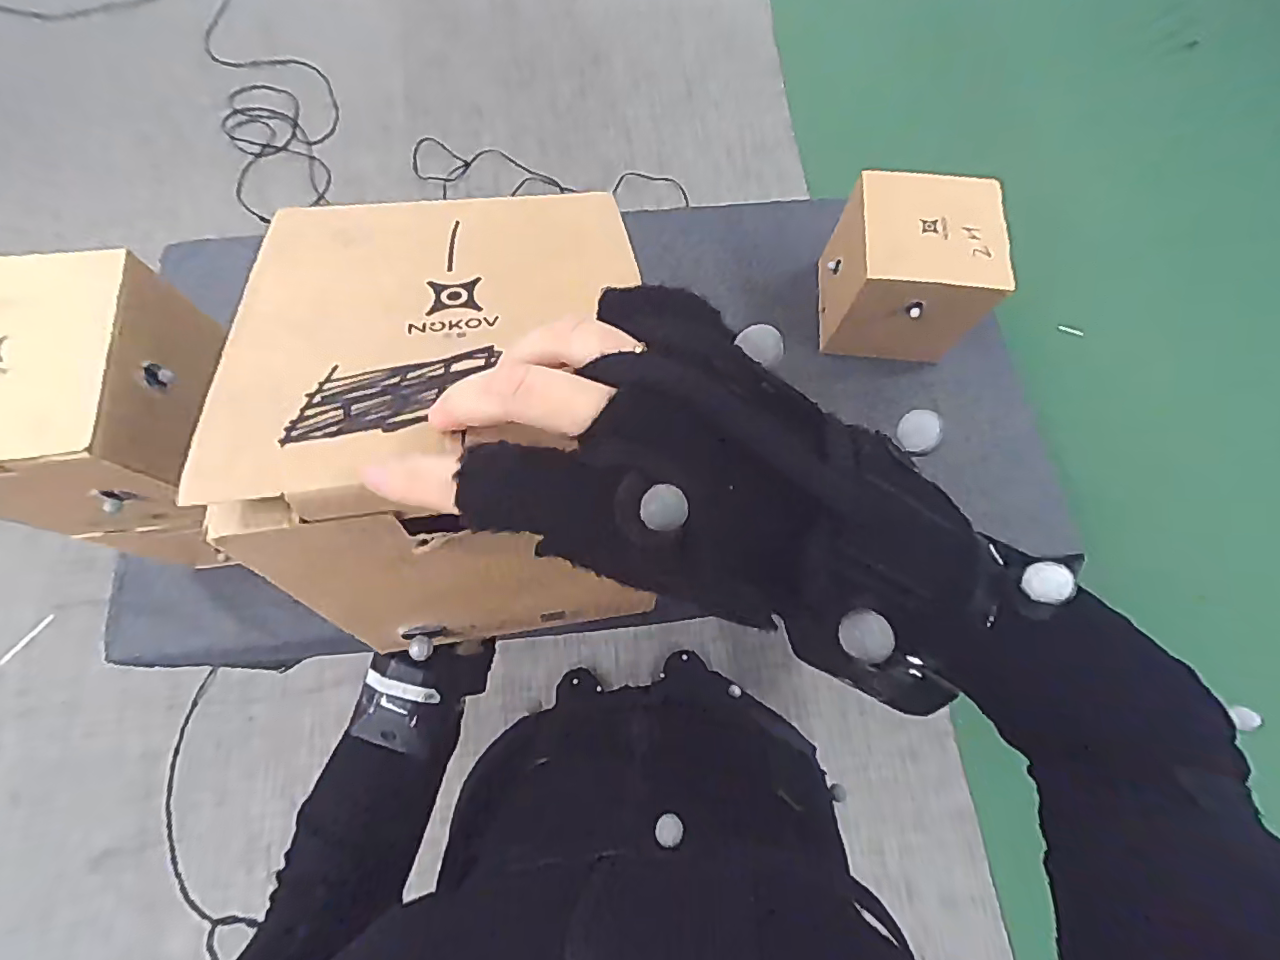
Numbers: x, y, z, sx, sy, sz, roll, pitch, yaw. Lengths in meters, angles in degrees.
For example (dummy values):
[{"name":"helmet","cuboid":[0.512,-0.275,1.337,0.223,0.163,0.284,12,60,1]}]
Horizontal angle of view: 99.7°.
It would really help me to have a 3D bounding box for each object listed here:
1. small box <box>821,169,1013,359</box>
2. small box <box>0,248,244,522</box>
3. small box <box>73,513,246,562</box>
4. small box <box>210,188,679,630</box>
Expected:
[{"name":"small box","cuboid":[0.353,-0.279,0.726,0.179,0.176,0.168,6,72,0]},{"name":"small box","cuboid":[-0.466,-0.066,0.465,0.168,0.176,0.179,-6,72,-5]},{"name":"small box","cuboid":[-0.471,-0.014,0.619,0.168,0.176,0.179,-8,72,-4]},{"name":"small box","cuboid":[-0.081,-0.026,0.298,0.168,0.176,0.179,-7,60,-8]}]
